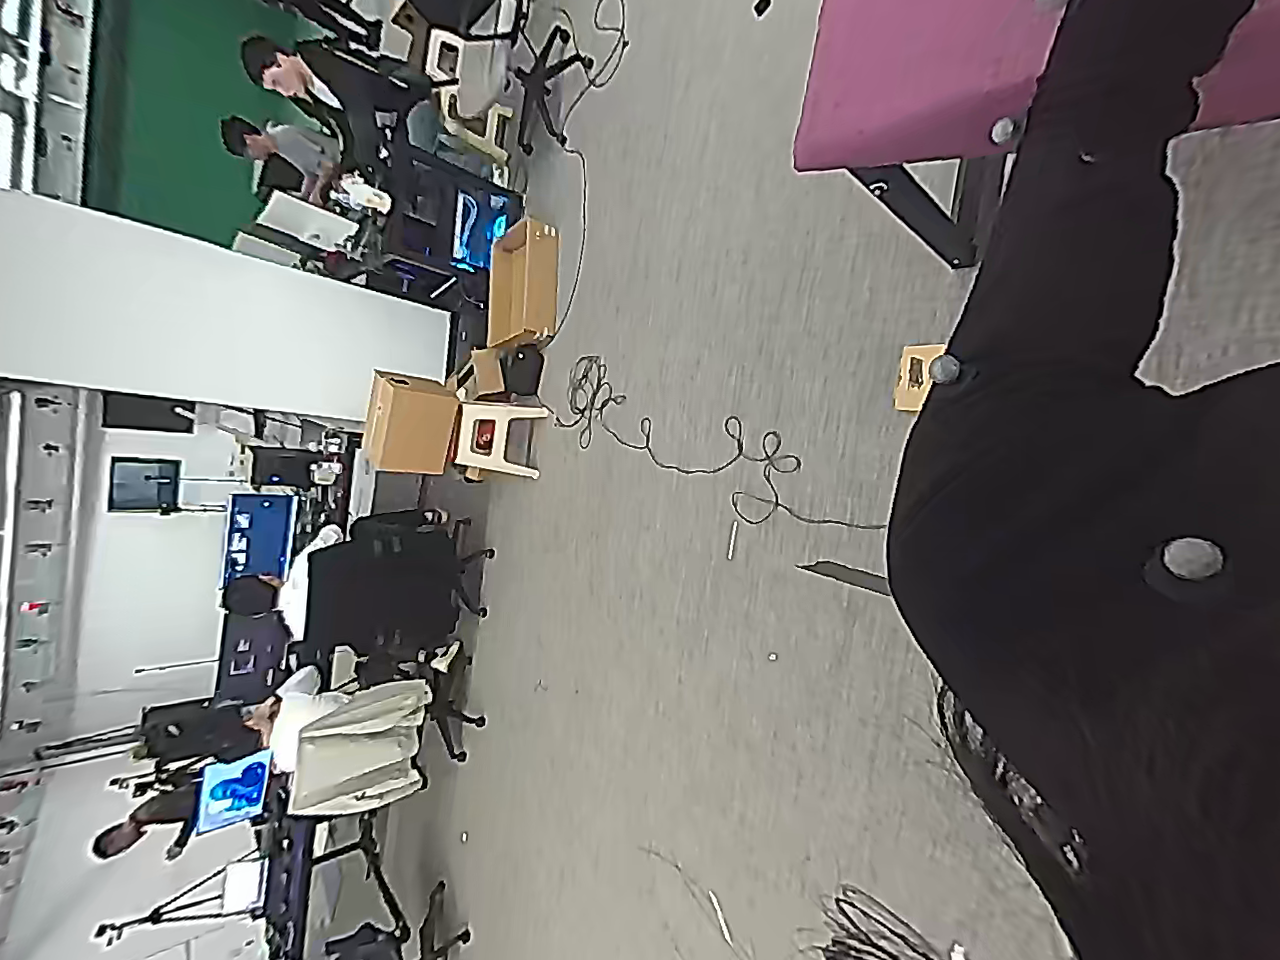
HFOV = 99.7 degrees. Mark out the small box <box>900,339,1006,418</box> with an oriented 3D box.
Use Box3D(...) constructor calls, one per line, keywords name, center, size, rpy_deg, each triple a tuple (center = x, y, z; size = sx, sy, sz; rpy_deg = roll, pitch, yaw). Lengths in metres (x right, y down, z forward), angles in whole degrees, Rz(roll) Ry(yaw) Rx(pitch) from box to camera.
Box3D(name="small box", center=(0.785, -0.249, 1.355), size=(0.179, 0.176, 0.168), rpy_deg=(10, 95, 47))
